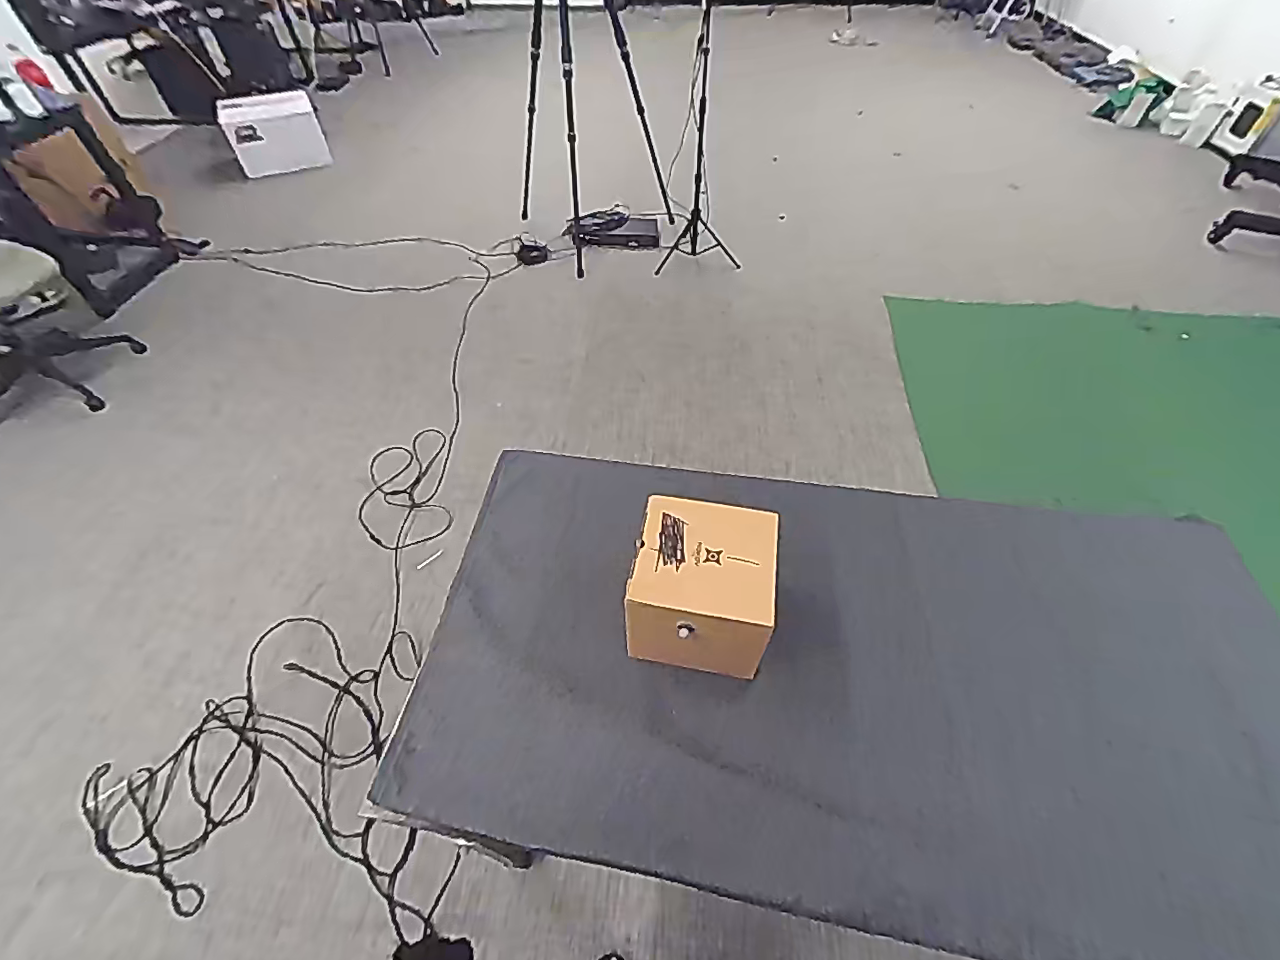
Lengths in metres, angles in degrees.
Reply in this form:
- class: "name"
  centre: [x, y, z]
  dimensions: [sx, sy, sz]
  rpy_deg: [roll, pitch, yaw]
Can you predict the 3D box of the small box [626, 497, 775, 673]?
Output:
- class: "small box"
  centre: [0.082, 0.148, 0.749]
  dimensions: [0.179, 0.176, 0.168]
  rpy_deg: [9, 50, 7]
